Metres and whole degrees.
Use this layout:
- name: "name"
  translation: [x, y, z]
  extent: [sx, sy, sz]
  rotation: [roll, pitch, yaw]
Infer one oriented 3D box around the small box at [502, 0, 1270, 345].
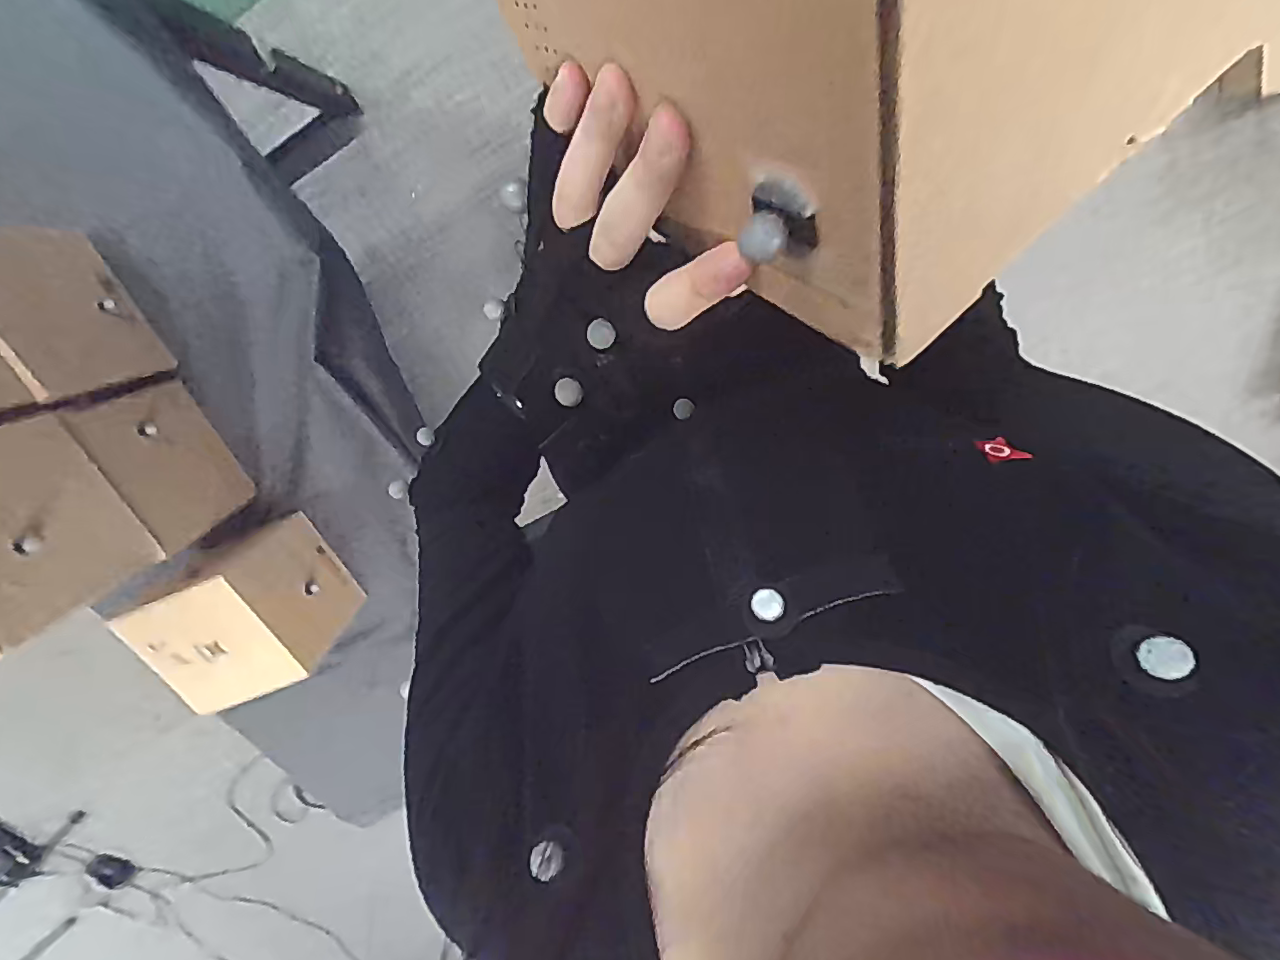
- name: "small box"
  translation: [0.051, -0.176, 0.136]
  extent: [0.168, 0.176, 0.179]
  rotation: [-41, 146, 0]
